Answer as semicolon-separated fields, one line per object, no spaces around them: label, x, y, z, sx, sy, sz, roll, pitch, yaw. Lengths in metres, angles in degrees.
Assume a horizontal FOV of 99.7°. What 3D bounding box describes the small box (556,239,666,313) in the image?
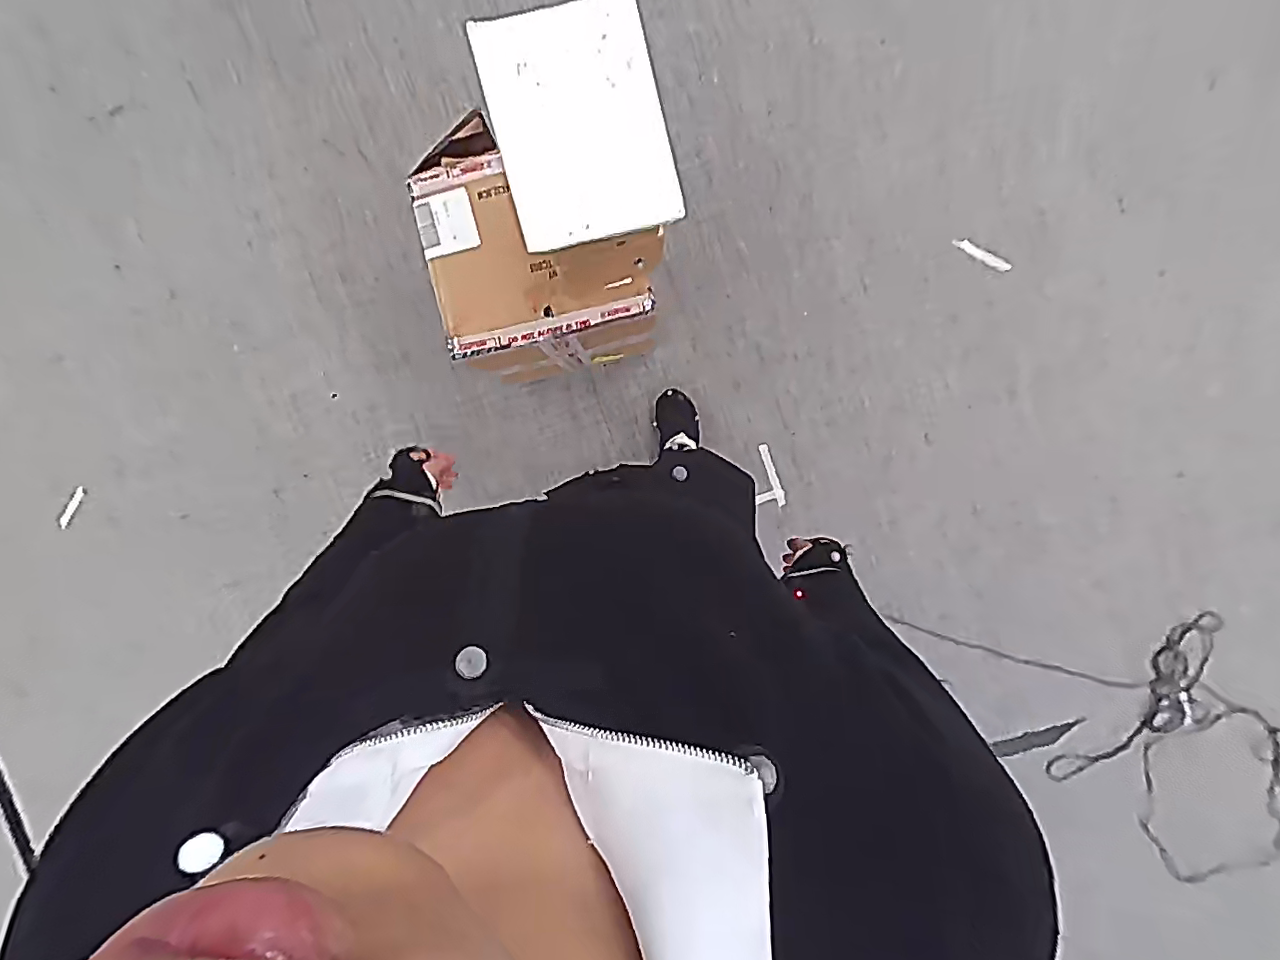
small box;-0.068;-0.402;0.913;0.179;0.176;0.168;-19;94;1

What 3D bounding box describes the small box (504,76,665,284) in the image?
small box;-0.071;-0.399;0.749;0.168;0.176;0.179;-17;94;0
